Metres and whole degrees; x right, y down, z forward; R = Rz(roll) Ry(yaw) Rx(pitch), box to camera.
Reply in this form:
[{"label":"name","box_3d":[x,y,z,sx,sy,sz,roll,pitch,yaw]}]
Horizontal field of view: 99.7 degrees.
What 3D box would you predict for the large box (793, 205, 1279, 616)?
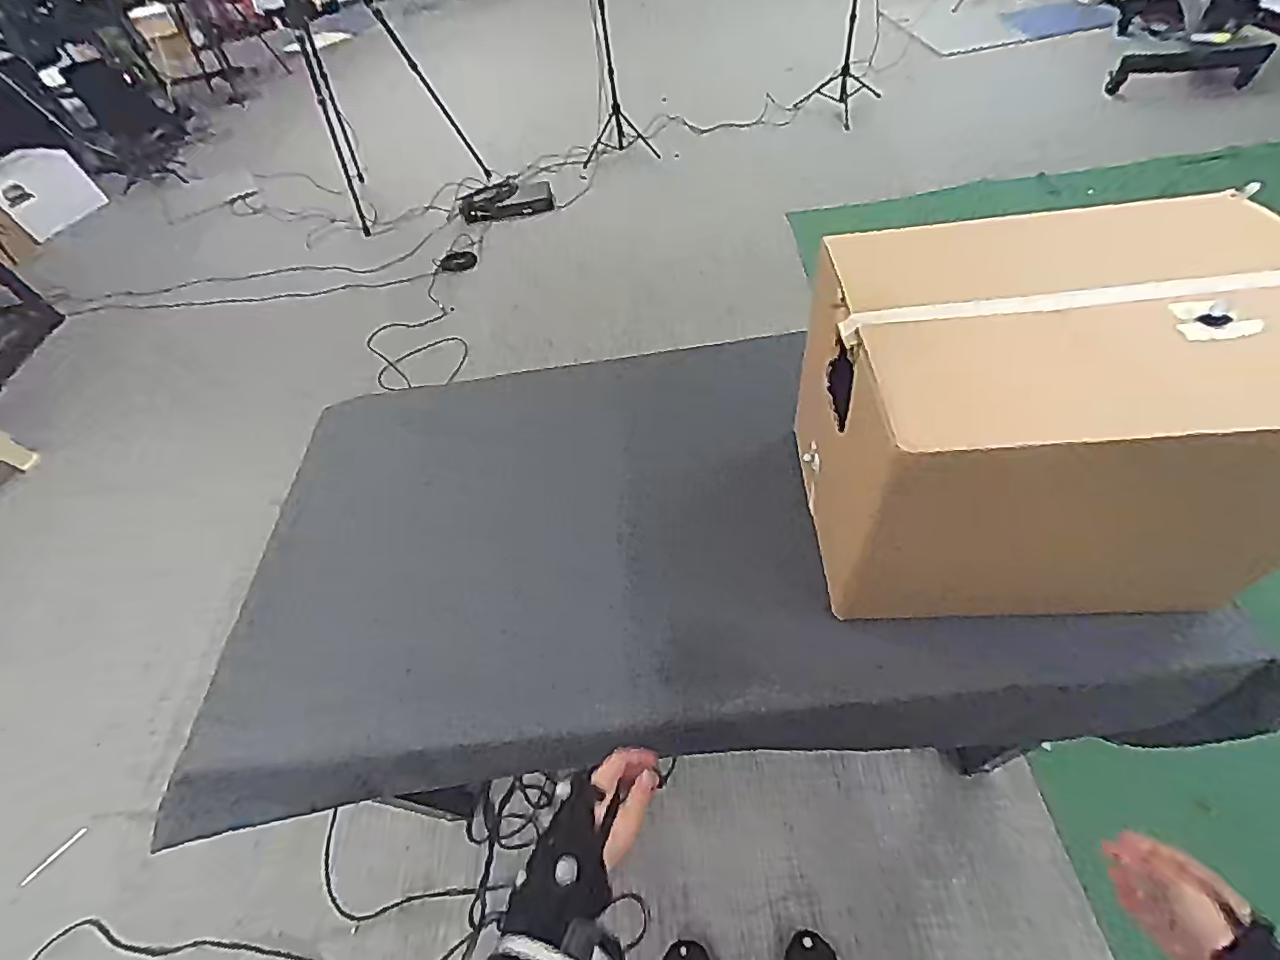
[{"label":"large box","box_3d":[0.410,-0.060,0.595,0.408,0.320,0.320,-3,52,6]}]
